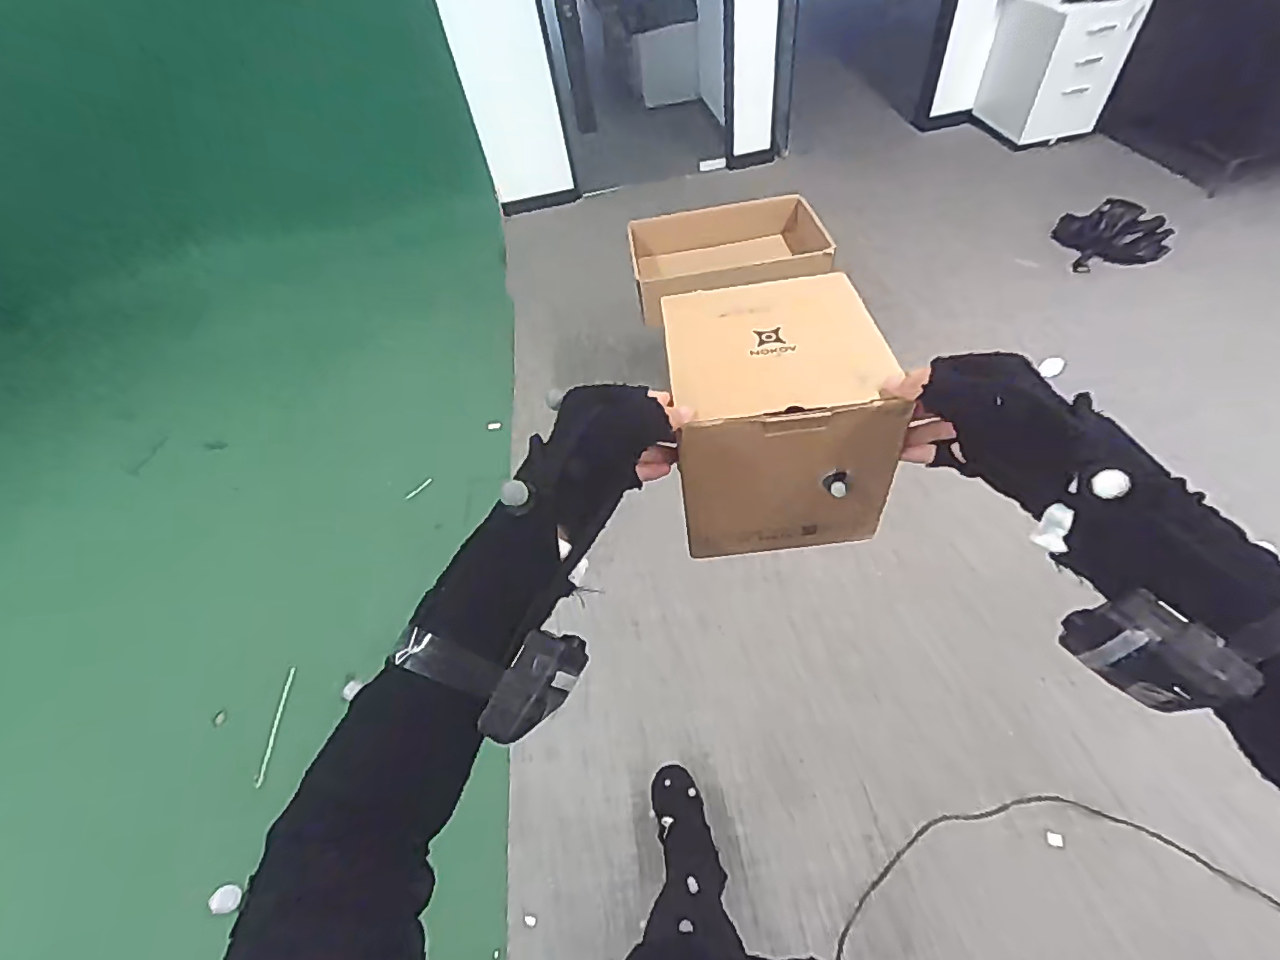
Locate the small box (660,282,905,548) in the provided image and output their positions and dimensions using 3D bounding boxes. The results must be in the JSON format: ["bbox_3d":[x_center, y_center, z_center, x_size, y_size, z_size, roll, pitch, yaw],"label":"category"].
[{"bbox_3d":[0.112,-0.052,0.492,0.168,0.176,0.179,-7,46,3],"label":"small box"}]
